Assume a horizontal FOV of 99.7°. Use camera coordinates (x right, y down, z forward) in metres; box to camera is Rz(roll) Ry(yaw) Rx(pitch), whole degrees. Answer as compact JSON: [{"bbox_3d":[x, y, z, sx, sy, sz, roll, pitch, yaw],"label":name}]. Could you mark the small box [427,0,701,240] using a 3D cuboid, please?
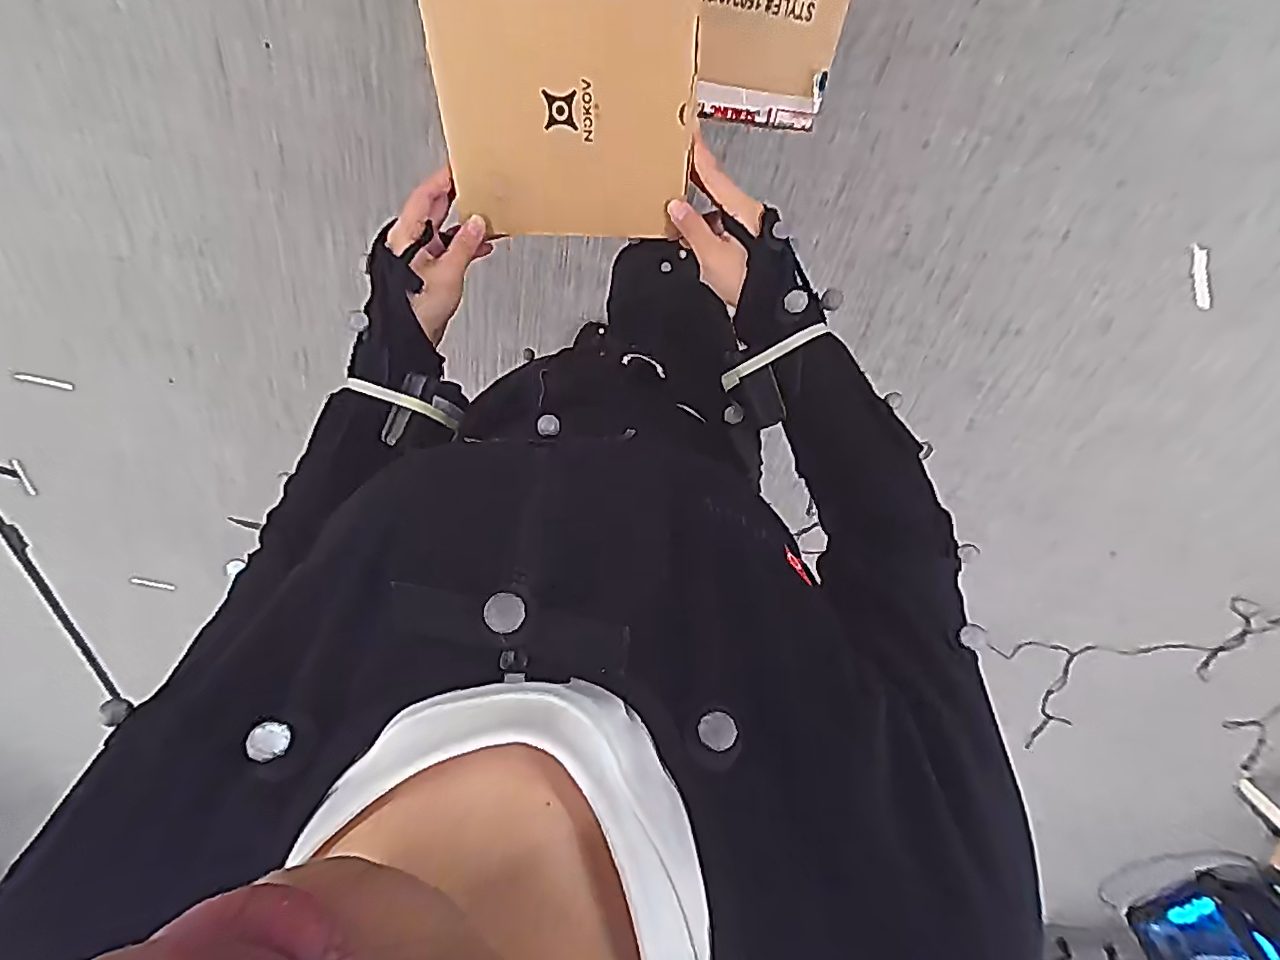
[{"bbox_3d":[-0.050,-0.310,0.441,0.179,0.176,0.168,1,133,-1],"label":"small box"}]
